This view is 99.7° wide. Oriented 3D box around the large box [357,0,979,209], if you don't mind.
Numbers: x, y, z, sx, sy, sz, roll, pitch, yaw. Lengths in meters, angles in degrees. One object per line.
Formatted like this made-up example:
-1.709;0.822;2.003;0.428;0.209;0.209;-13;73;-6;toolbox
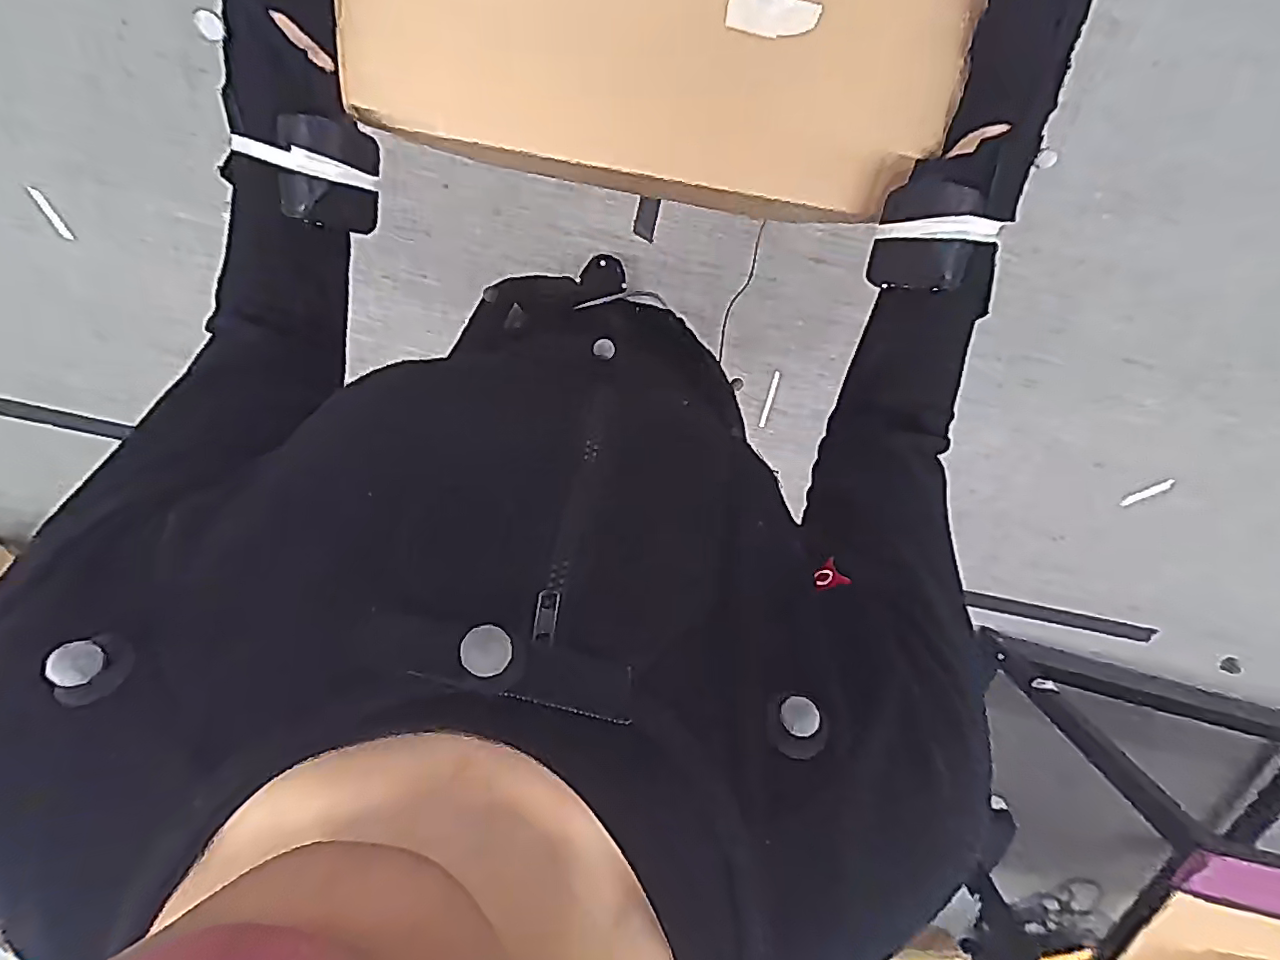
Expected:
0.026;-0.429;0.454;0.408;0.320;0.320;8;117;-5;large box
